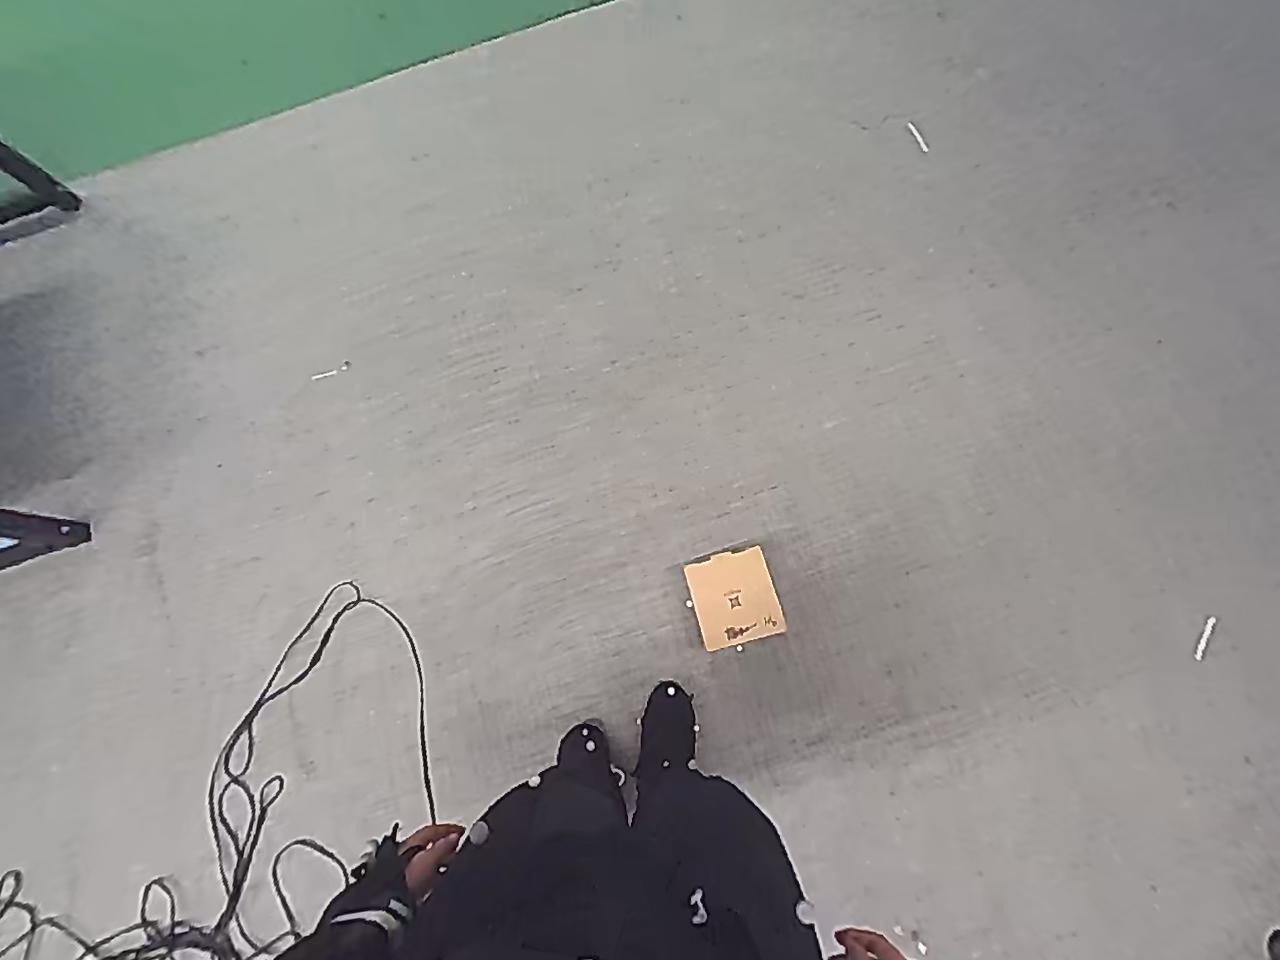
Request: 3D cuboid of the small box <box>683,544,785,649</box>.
[{"bbox_3d":[0.190,0.254,1.151,0.168,0.176,0.179,-15,73,0],"label":"small box"}]
